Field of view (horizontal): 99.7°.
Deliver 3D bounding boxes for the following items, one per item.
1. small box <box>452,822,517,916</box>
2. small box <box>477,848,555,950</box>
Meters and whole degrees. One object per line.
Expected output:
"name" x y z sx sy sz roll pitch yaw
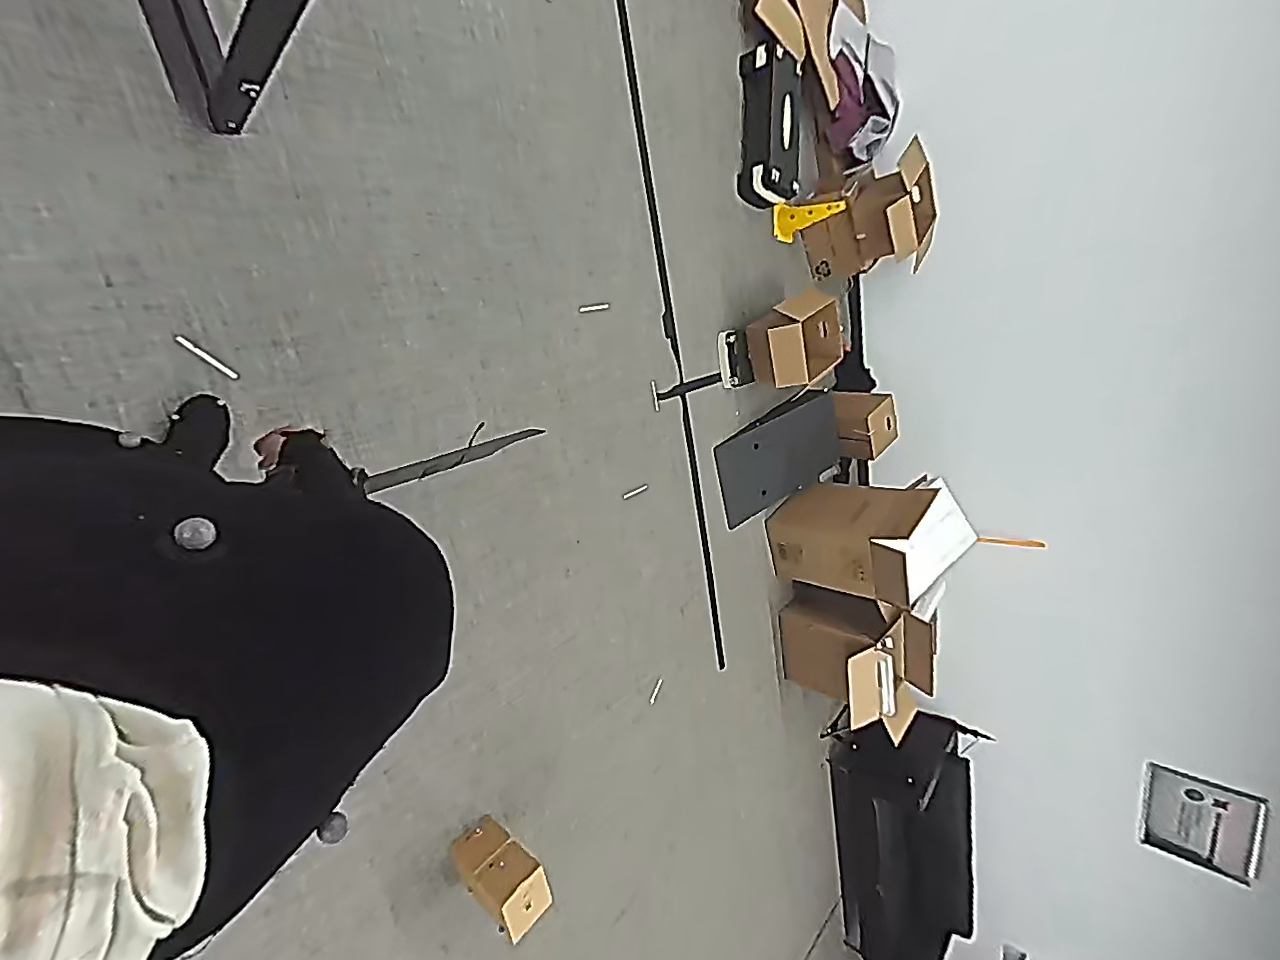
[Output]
"small box" -0.534 1.358 1.902 0.168 0.176 0.179 -27 113 -43
"small box" -0.413 1.378 1.793 0.168 0.176 0.179 -27 113 -43
